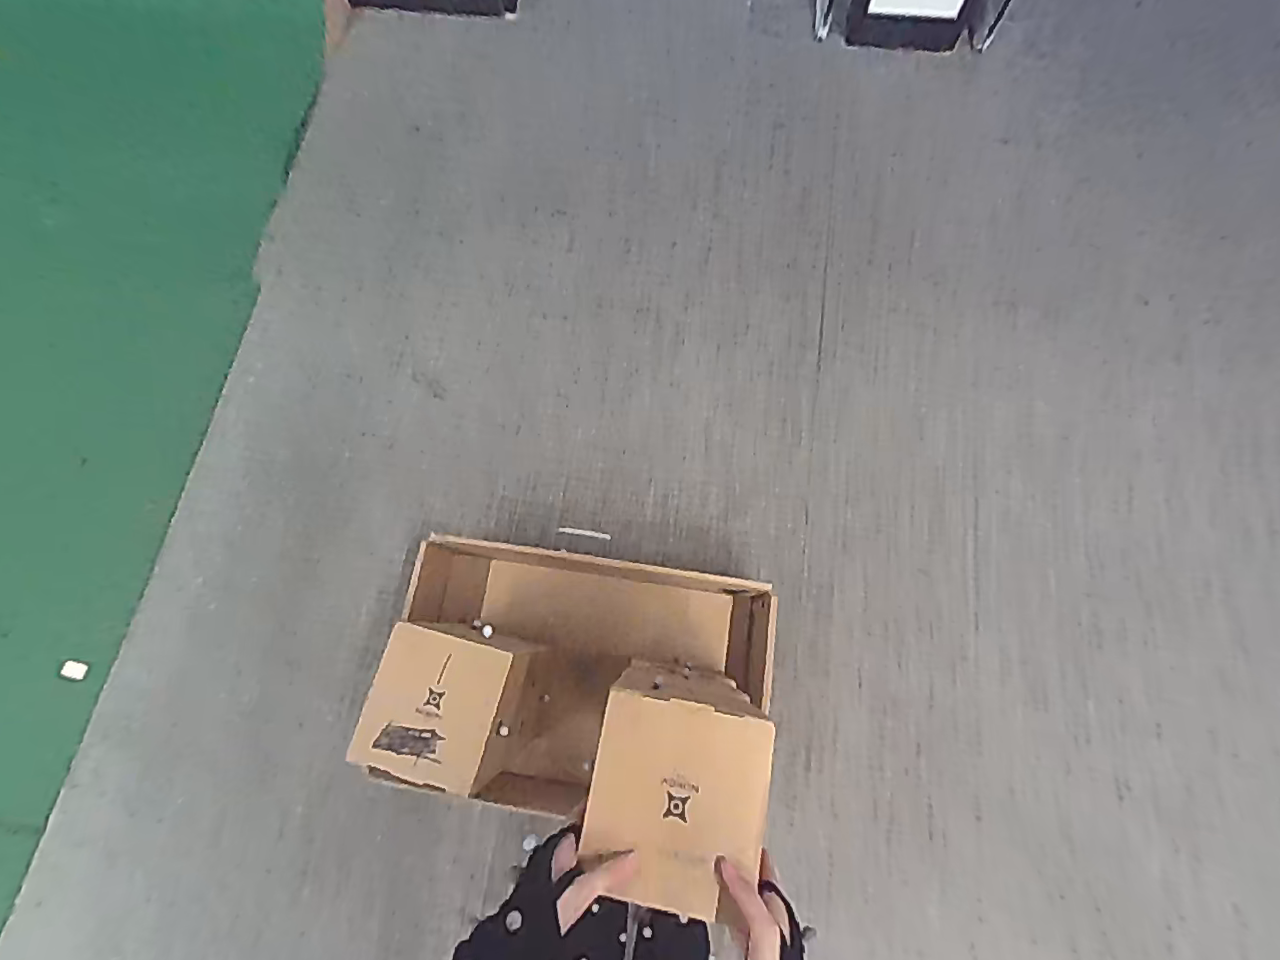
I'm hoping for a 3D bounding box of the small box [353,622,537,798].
[{"bbox_3d":[-0.257,0.310,0.763,0.168,0.176,0.179,14,74,5],"label":"small box"}]

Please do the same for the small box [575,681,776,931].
[{"bbox_3d":[0.038,0.324,0.583,0.168,0.176,0.179,10,75,6],"label":"small box"}]
